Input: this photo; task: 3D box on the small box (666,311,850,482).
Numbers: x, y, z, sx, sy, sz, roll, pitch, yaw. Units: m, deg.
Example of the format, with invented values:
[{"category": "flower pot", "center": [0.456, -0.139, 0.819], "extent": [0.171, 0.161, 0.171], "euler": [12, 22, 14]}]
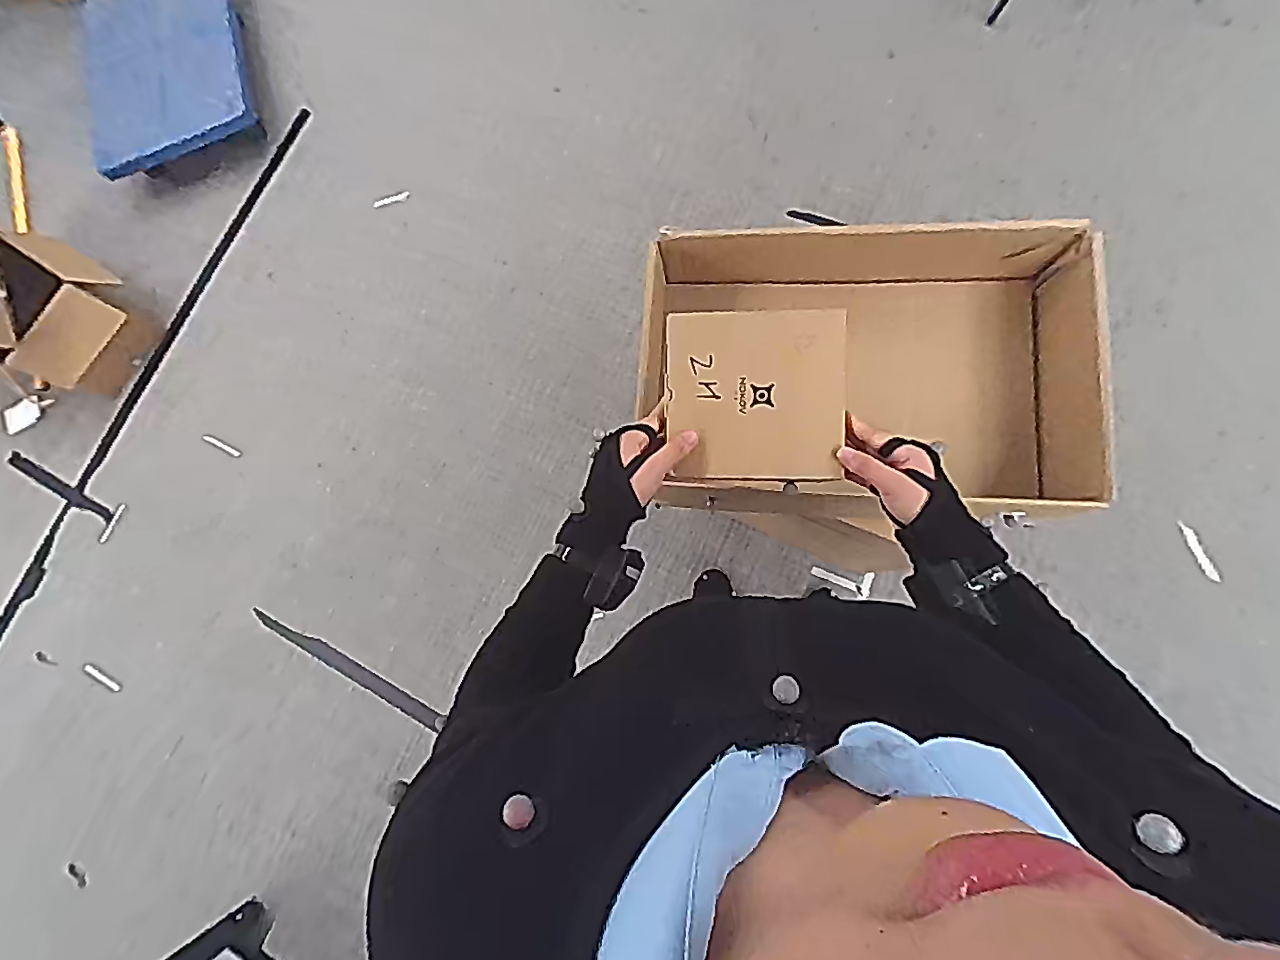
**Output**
[{"category": "small box", "center": [0.125, -0.083, 0.608], "extent": [0.179, 0.176, 0.168], "euler": [1, 89, 9]}]
